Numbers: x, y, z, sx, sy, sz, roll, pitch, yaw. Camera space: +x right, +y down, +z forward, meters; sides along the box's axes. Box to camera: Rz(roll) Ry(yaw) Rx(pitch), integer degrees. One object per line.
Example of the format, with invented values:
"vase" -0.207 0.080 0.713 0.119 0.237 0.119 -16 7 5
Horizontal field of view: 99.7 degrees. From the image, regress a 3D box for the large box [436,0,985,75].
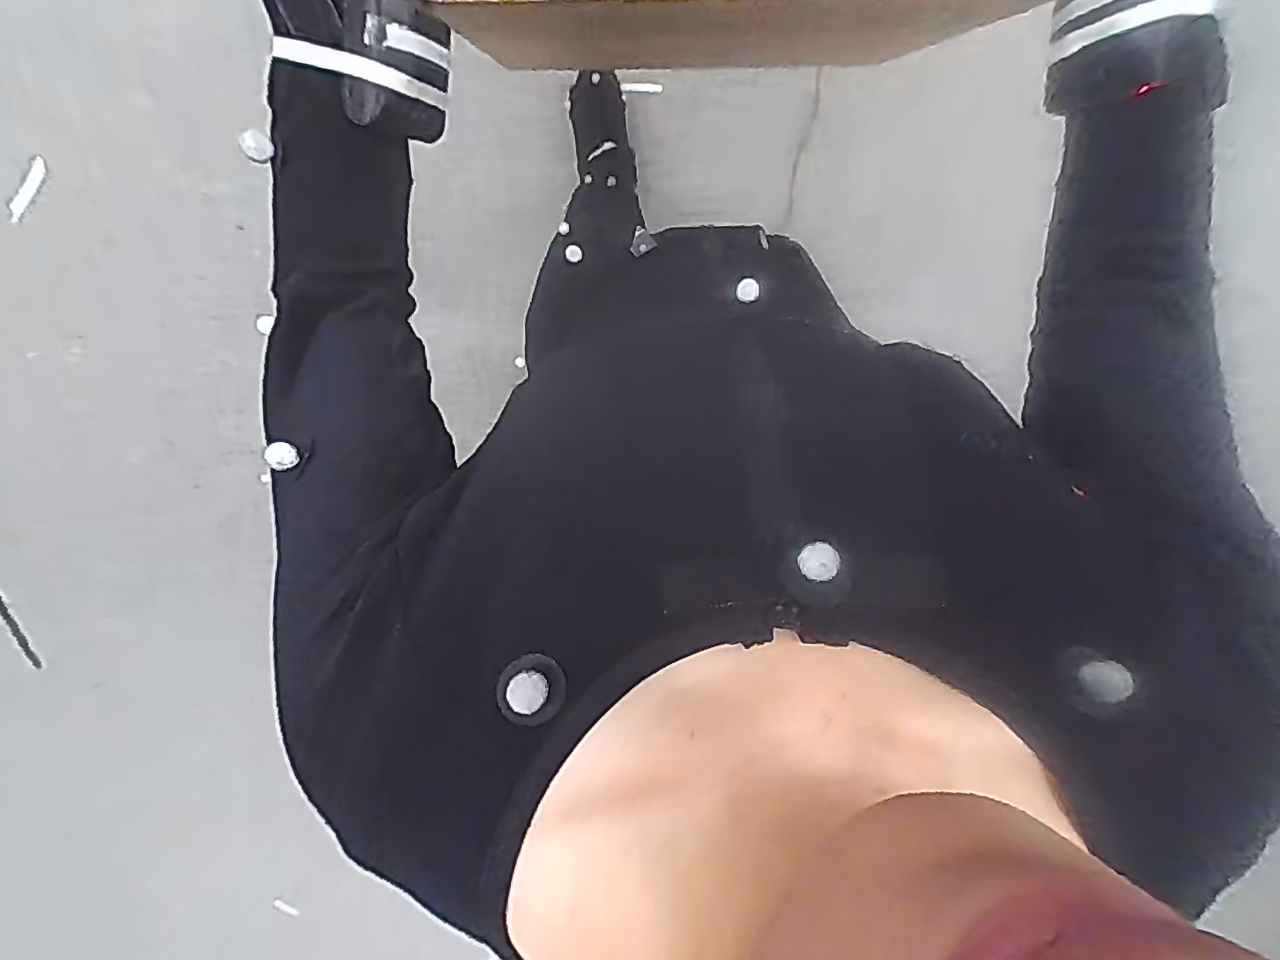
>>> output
"large box" 0.054 -0.502 0.374 0.408 0.320 0.320 -2 121 -1
